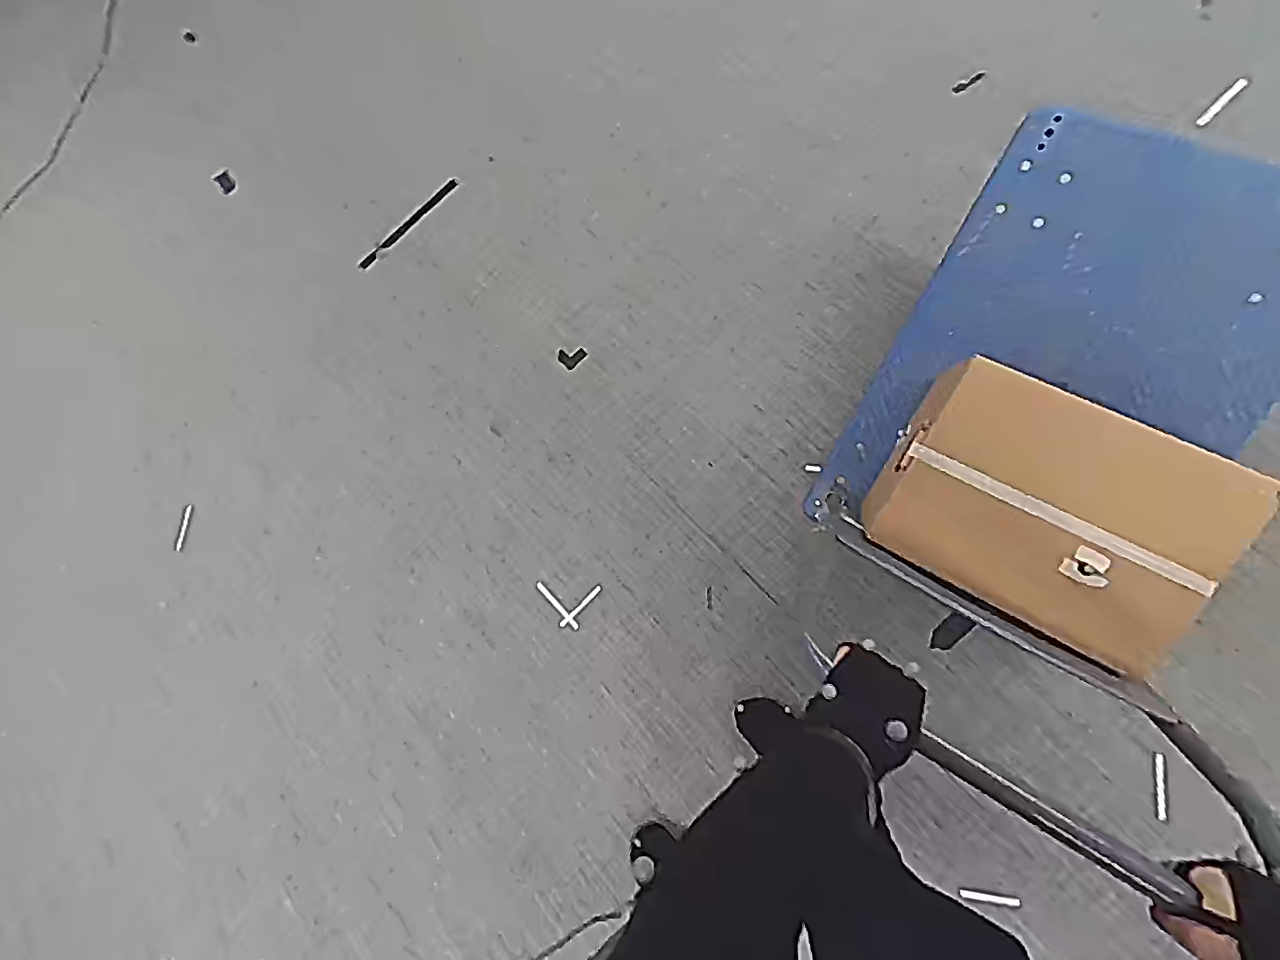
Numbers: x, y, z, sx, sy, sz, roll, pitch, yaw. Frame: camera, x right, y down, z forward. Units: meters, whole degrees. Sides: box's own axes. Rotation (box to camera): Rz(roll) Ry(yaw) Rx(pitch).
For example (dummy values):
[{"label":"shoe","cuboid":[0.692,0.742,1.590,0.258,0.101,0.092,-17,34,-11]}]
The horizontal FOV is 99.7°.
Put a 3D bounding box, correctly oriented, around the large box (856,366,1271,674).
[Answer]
[{"label":"large box","cuboid":[0.636,0.041,0.922,0.408,0.320,0.320,30,104,15]}]
